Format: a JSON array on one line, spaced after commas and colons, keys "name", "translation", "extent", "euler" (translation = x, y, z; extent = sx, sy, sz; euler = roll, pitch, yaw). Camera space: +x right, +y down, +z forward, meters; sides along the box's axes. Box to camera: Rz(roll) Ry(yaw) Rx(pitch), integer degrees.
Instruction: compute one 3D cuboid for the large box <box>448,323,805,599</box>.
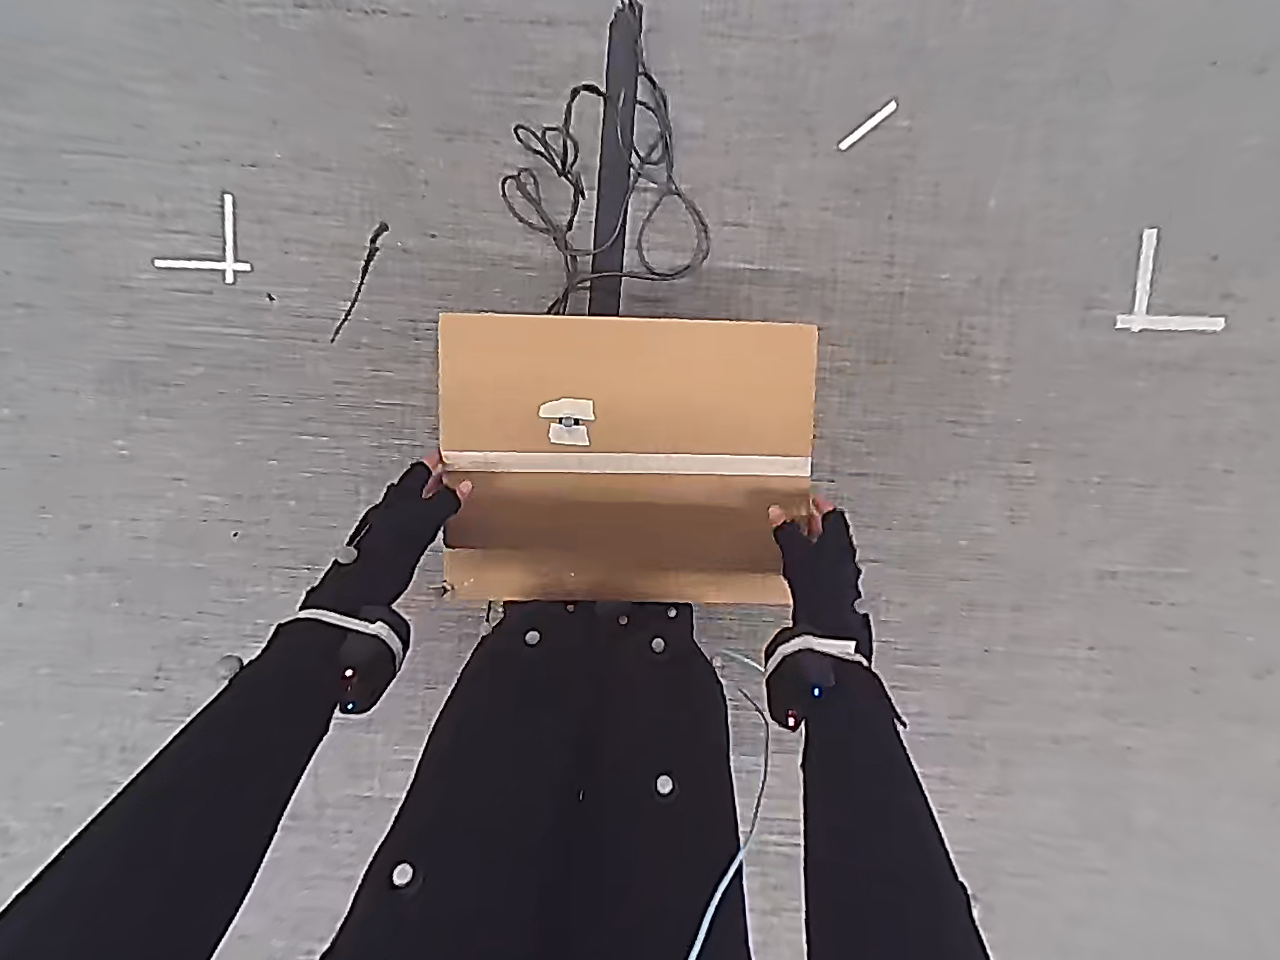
[{"name": "large box", "translation": [-0.017, -0.033, 0.759], "extent": [0.408, 0.320, 0.320], "euler": [2, 95, -1]}]
